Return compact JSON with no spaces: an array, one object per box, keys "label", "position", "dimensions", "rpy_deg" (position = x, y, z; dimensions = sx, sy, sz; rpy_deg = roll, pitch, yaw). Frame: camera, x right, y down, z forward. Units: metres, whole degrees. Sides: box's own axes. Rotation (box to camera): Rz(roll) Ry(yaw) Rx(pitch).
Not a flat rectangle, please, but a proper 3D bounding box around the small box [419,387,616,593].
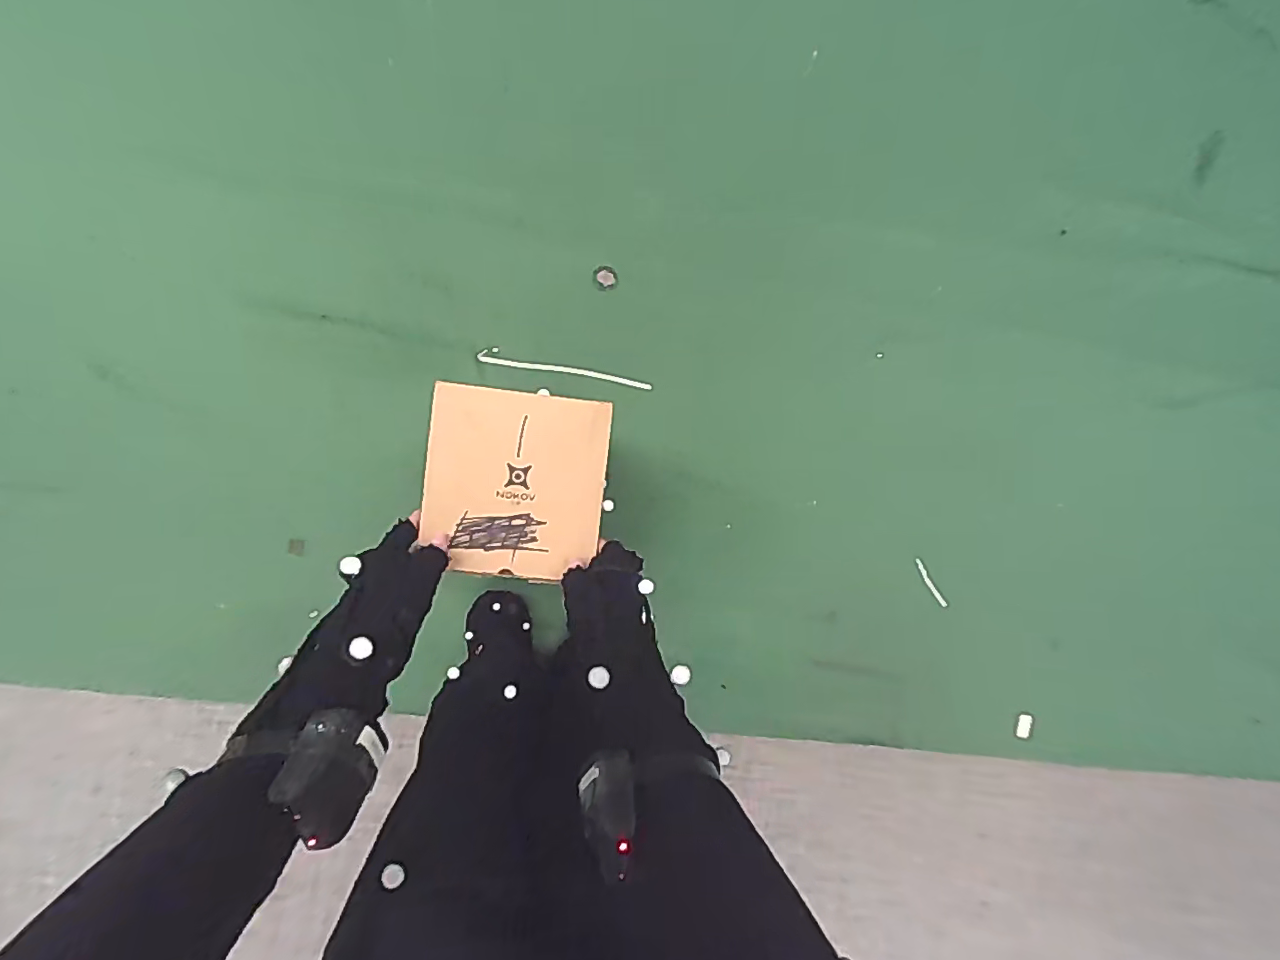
[{"label":"small box","position":[-0.119,0.009,0.579],"dimensions":[0.168,0.176,0.179],"rpy_deg":[7,90,-6]}]
